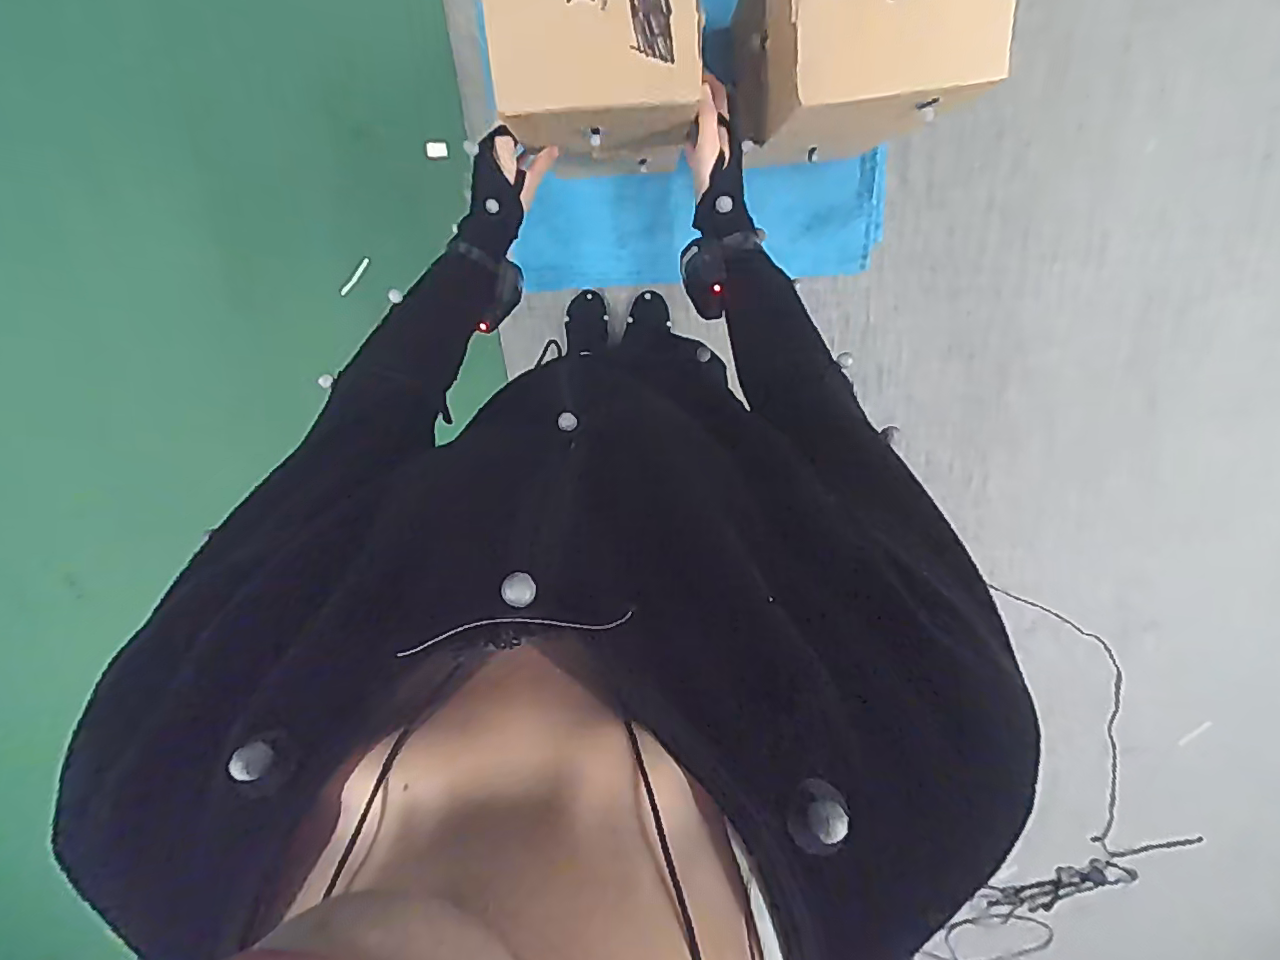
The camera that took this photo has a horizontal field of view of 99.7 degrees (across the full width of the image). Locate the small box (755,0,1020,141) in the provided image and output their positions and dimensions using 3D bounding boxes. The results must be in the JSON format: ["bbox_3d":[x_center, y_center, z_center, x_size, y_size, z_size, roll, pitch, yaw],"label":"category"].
[{"bbox_3d":[0.207,-0.424,0.487,0.179,0.176,0.168,-5,111,3],"label":"small box"}]

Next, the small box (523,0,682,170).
[{"bbox_3d":[-0.038,-0.480,0.644,0.168,0.176,0.179,-3,110,-1],"label":"small box"}]
